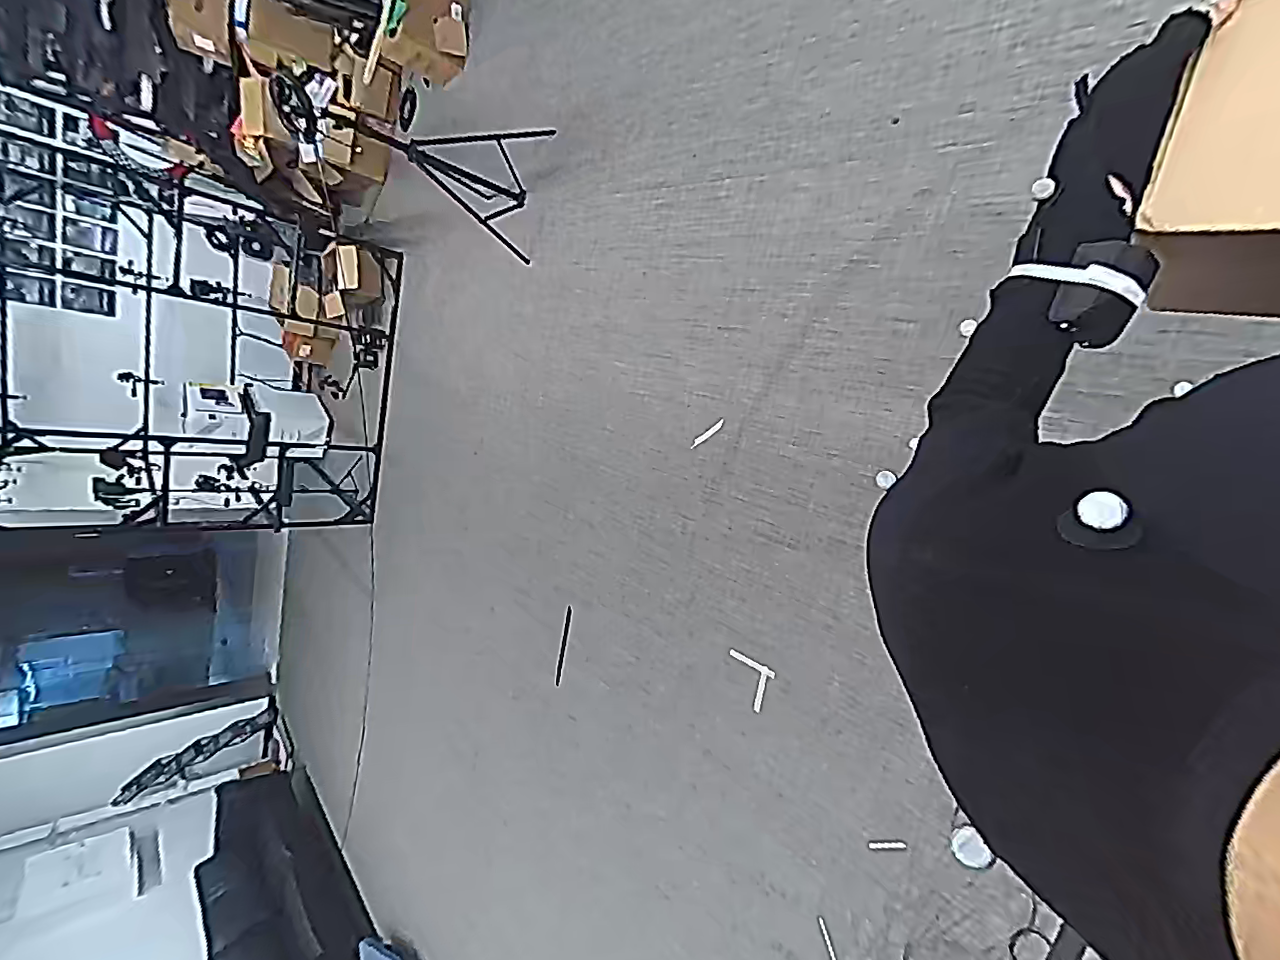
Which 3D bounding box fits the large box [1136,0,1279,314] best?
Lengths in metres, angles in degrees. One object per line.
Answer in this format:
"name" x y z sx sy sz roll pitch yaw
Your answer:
"large box" 0.642 -0.290 0.359 0.408 0.320 0.320 22 108 42
